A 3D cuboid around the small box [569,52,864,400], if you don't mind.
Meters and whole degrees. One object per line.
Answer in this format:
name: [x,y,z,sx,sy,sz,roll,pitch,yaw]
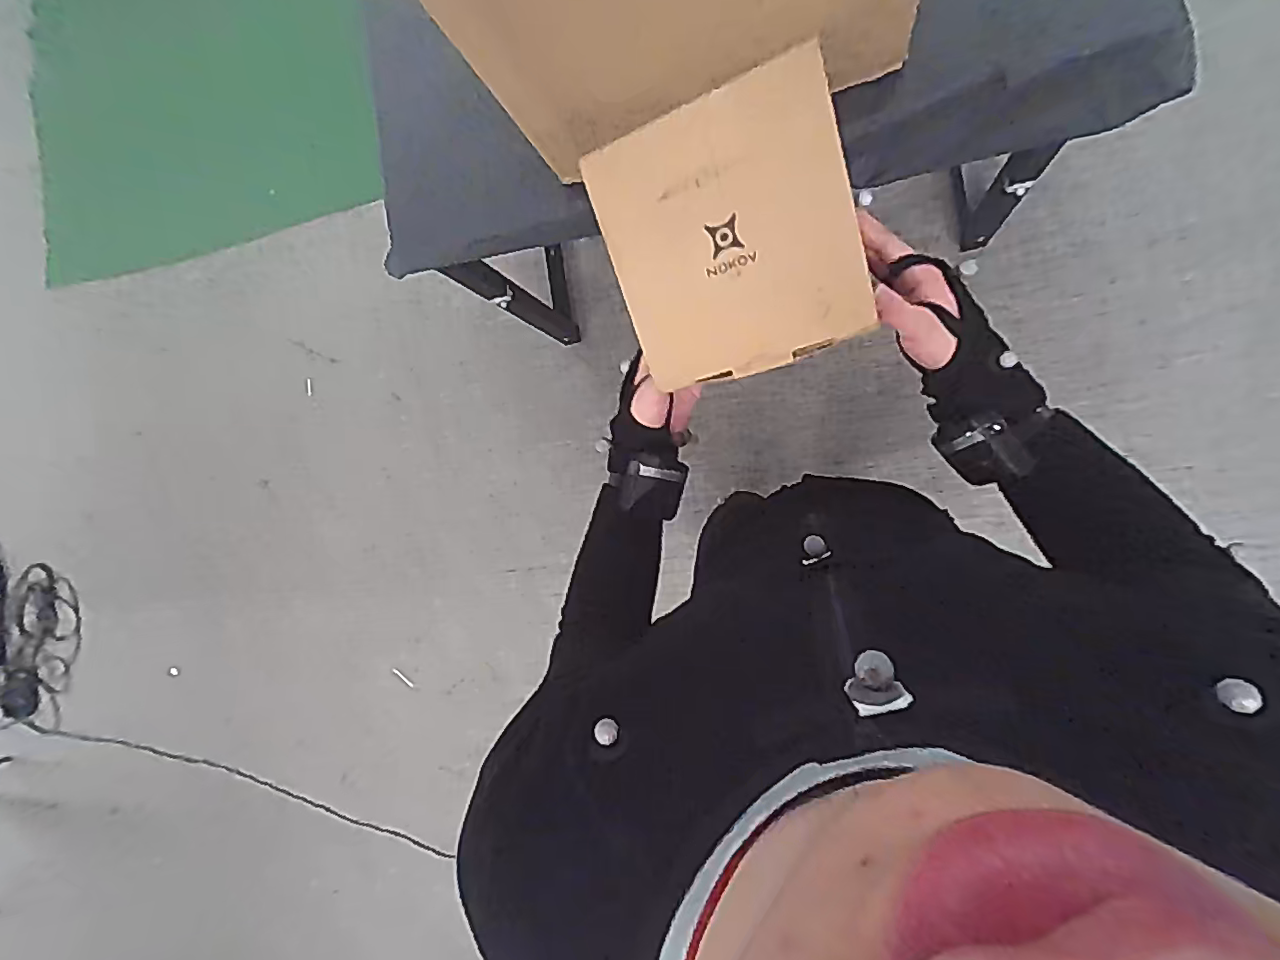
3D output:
small box: [0.074,-0.186,0.437,0.168,0.176,0.179,-14,106,23]
